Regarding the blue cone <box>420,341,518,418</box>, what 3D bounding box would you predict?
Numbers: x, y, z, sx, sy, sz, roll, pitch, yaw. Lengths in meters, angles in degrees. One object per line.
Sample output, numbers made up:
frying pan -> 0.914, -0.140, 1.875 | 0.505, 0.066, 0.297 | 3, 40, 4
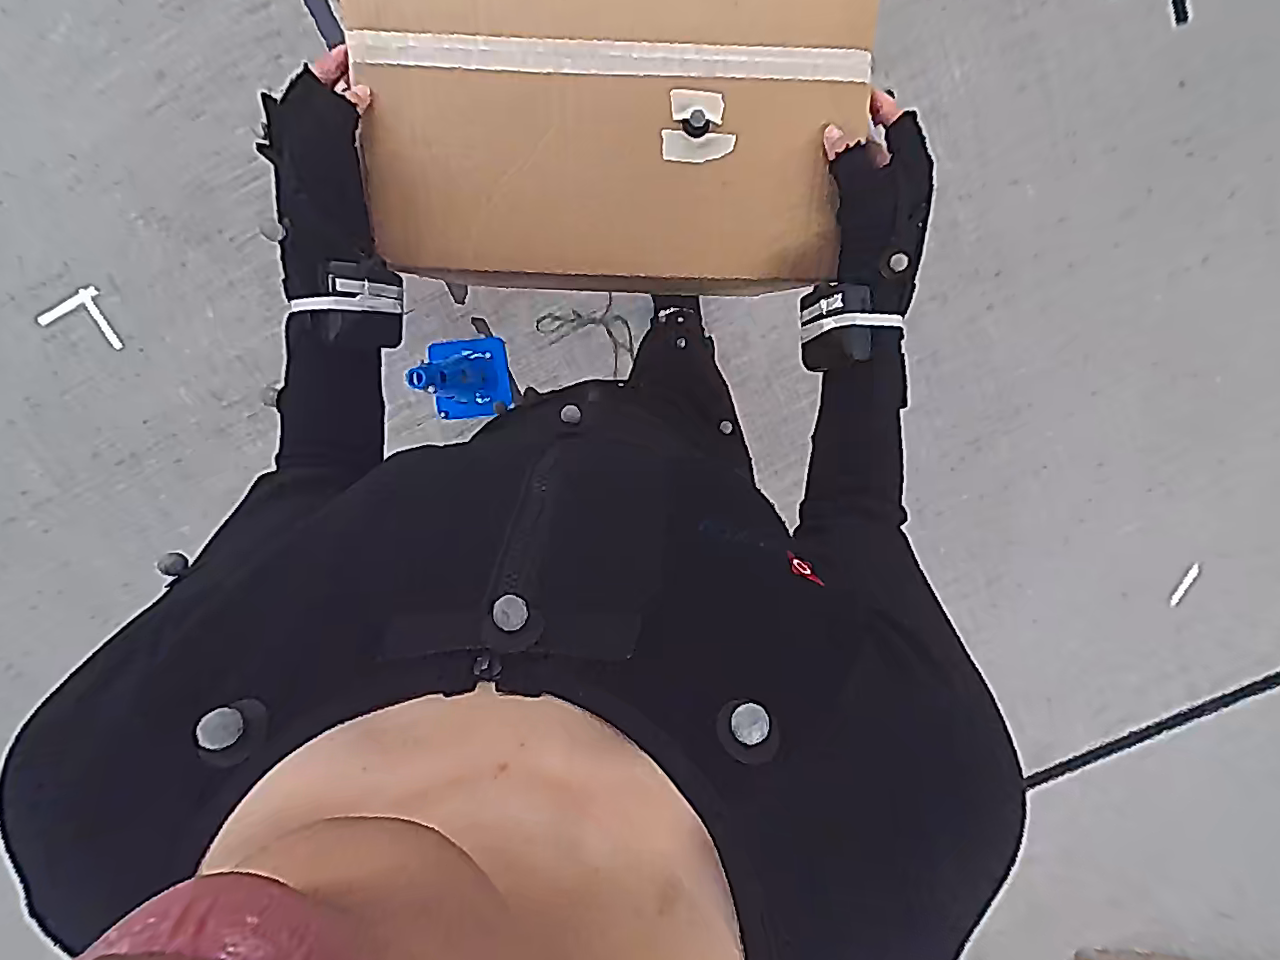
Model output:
blue cone -> -0.426, -0.233, 1.263 | 0.193, 0.380, 0.192 | -4, 101, 1

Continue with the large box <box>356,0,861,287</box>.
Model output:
large box -> -0.029, -0.381, 0.576 | 0.408, 0.320, 0.320 | 0, 107, -2
